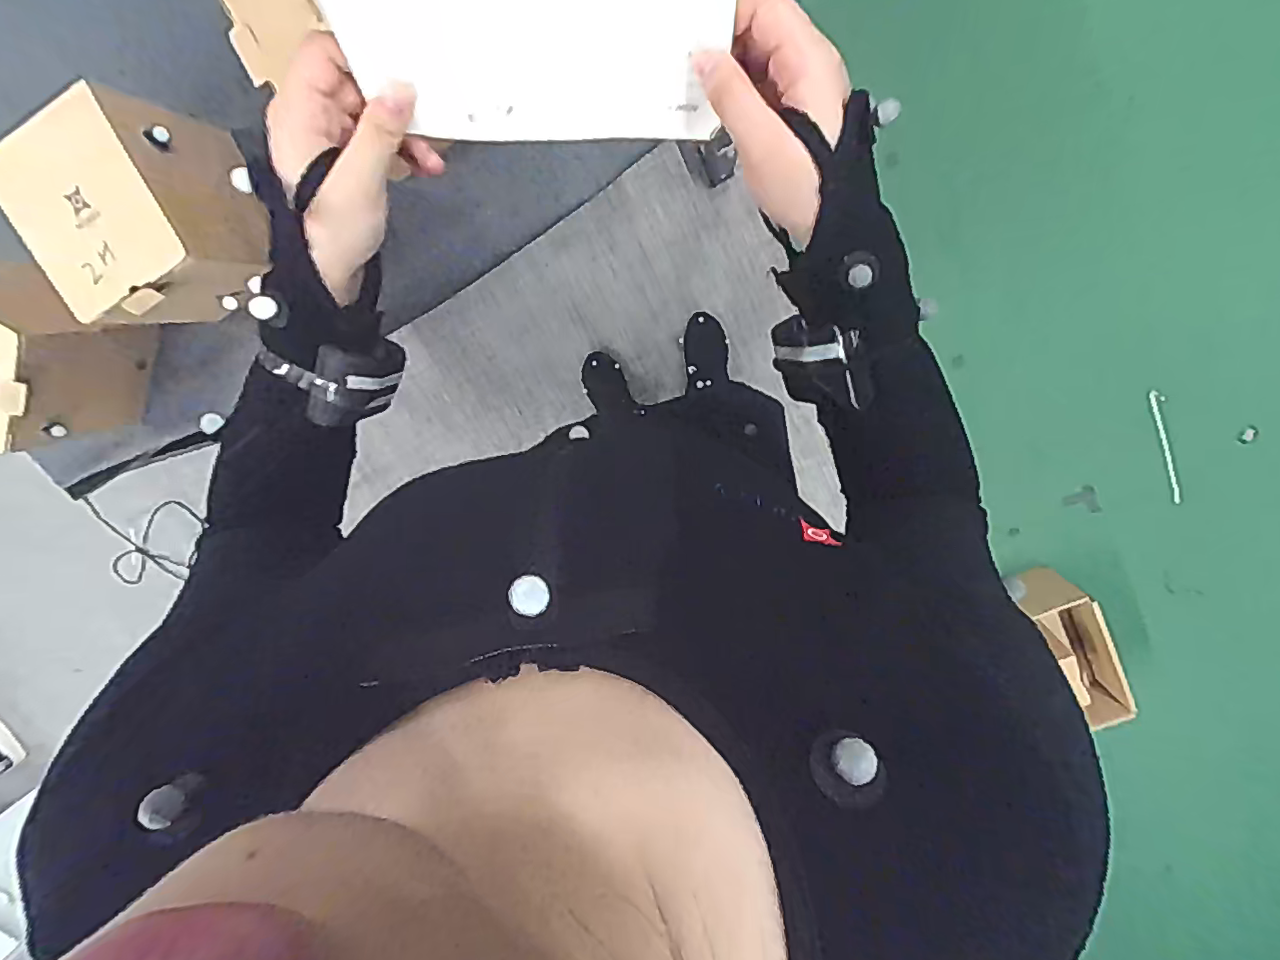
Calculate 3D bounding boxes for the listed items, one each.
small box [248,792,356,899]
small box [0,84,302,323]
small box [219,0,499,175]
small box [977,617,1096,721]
[{"bbox_3d":[-0.985,1.071,1.592,0.179,0.176,0.168,44,106,-9],"label":"small box"},{"bbox_3d":[-0.548,-0.296,0.623,0.168,0.176,0.179,-22,104,14],"label":"small box"},{"bbox_3d":[-0.263,-0.443,0.540,0.179,0.176,0.168,-25,103,15],"label":"small box"},{"bbox_3d":[1.042,0.493,1.432,0.179,0.176,0.168,-26,106,15],"label":"small box"}]
